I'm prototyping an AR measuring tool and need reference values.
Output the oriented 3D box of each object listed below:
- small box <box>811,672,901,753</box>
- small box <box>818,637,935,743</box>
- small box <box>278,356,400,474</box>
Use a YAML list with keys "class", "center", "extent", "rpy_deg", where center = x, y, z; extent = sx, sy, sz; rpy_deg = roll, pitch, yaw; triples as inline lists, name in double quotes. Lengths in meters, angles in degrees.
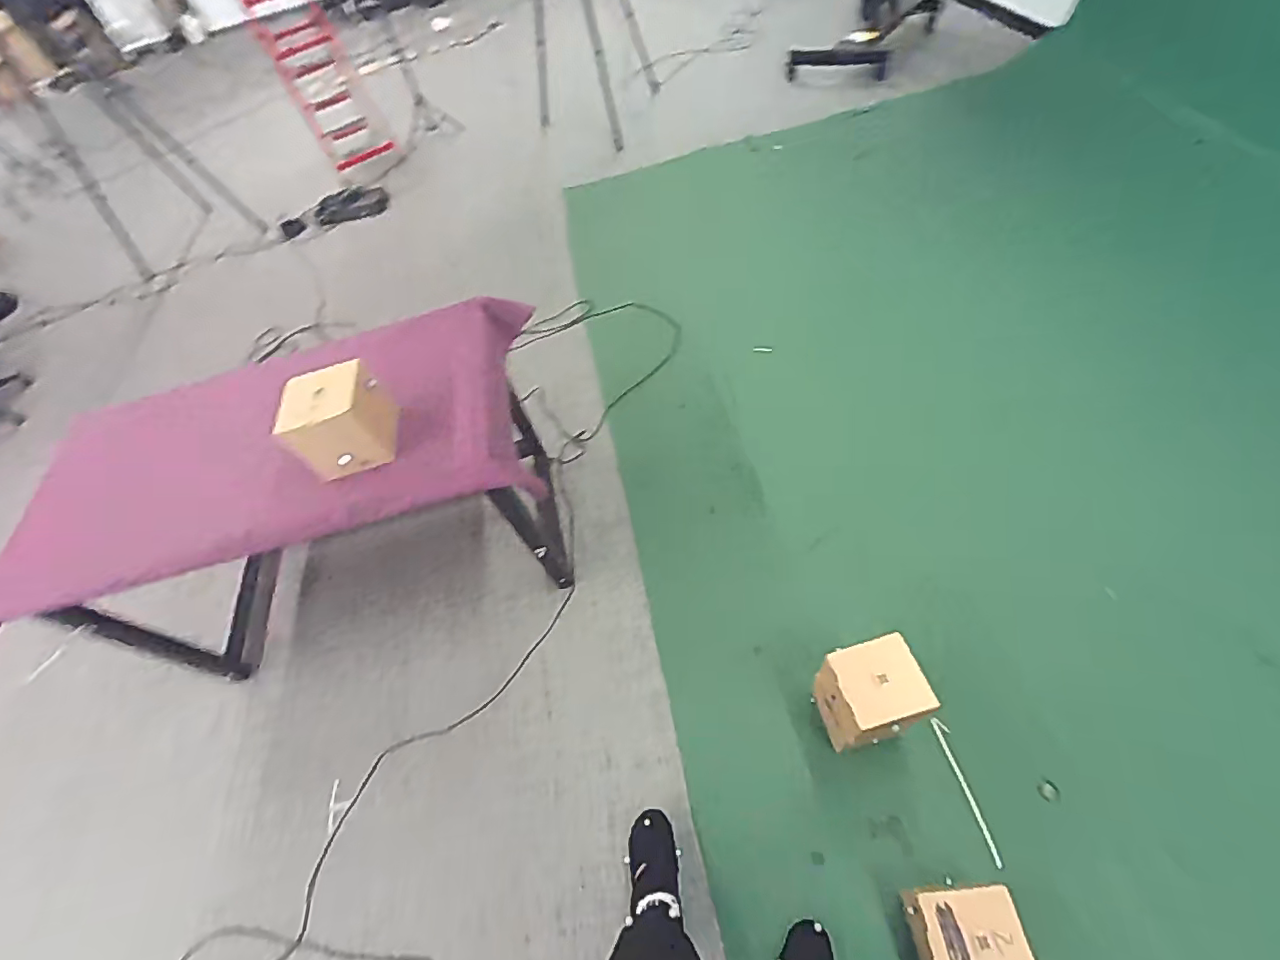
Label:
- class: "small box"
  center: [0.544, 0.572, 1.364]
  extent: [0.179, 0.176, 0.168]
  rpy_deg: [-15, 54, 0]
- class: "small box"
  center: [0.525, 0.481, 1.230]
  extent: [0.179, 0.176, 0.168]
  rpy_deg: [-17, 54, 0]
- class: "small box"
  center: [-0.661, -0.143, 1.214]
  extent: [0.168, 0.176, 0.179]
  rpy_deg: [-16, 53, 2]
